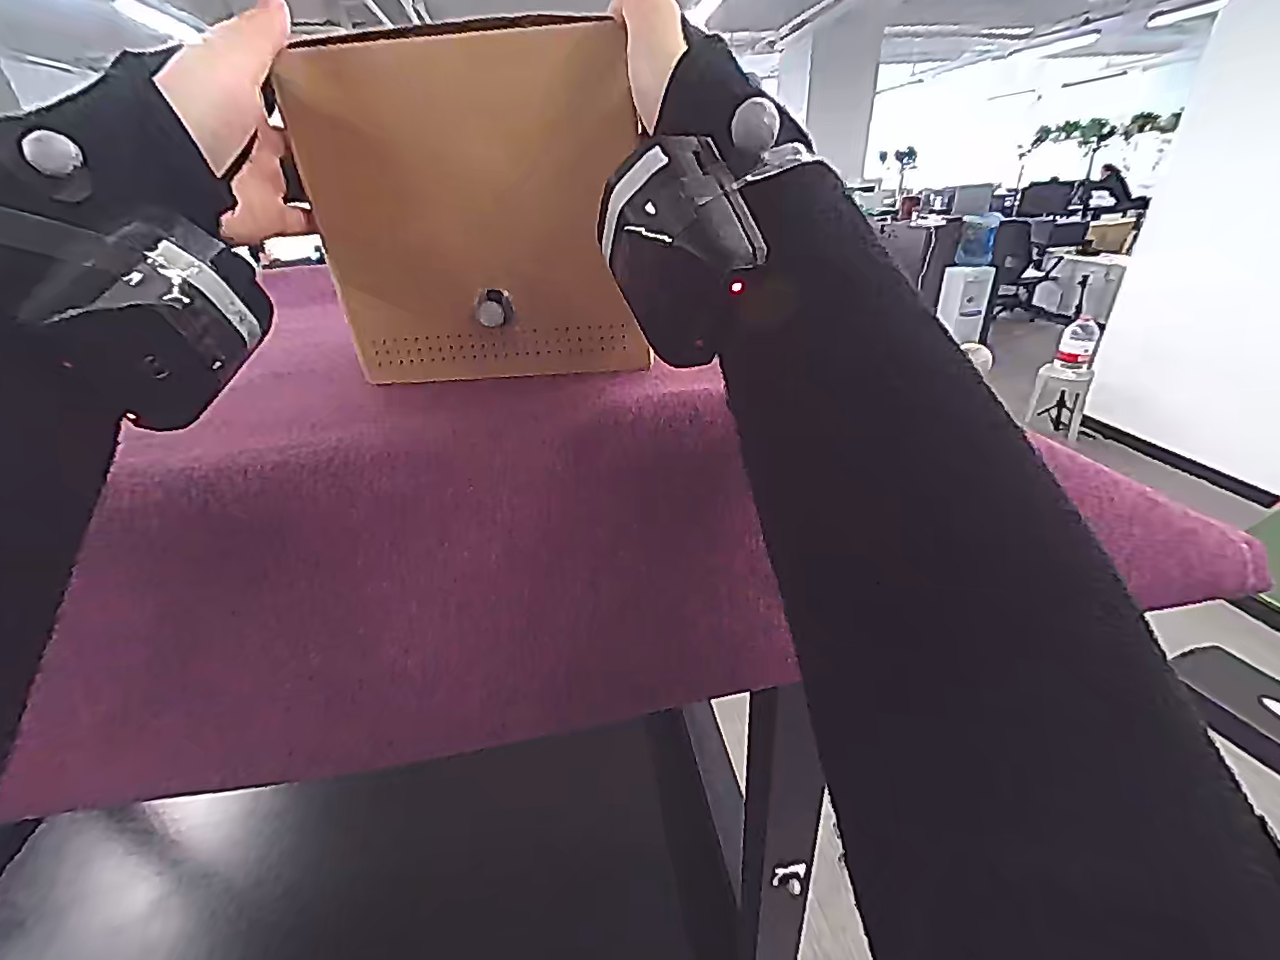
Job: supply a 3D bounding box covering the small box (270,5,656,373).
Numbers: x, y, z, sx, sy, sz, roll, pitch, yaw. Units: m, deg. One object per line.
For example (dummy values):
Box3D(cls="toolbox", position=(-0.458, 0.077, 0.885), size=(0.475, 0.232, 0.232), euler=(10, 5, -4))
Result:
Box3D(cls="small box", position=(-0.079, -0.175, 0.352), size=(0.179, 0.176, 0.168), euler=(-2, 29, 3))
